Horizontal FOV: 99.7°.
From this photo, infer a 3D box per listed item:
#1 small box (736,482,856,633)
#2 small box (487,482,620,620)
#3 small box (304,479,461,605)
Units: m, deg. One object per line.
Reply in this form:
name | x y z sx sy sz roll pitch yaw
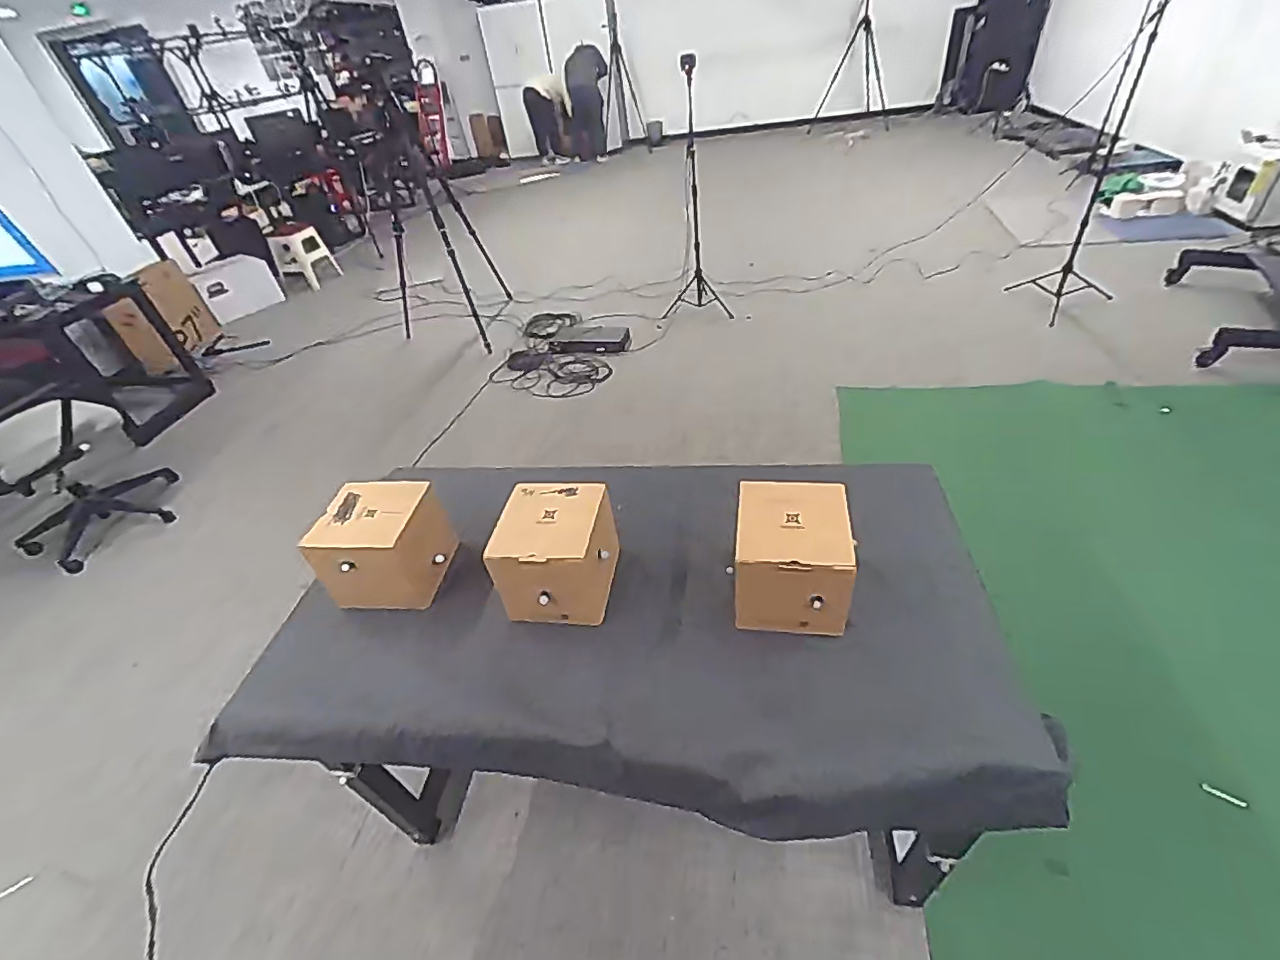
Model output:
small box | 0.241 0.124 0.867 0.168 0.176 0.179 2 40 11
small box | -0.136 0.123 0.934 0.168 0.176 0.179 1 41 11
small box | -0.461 0.114 0.999 0.179 0.176 0.168 0 41 8
